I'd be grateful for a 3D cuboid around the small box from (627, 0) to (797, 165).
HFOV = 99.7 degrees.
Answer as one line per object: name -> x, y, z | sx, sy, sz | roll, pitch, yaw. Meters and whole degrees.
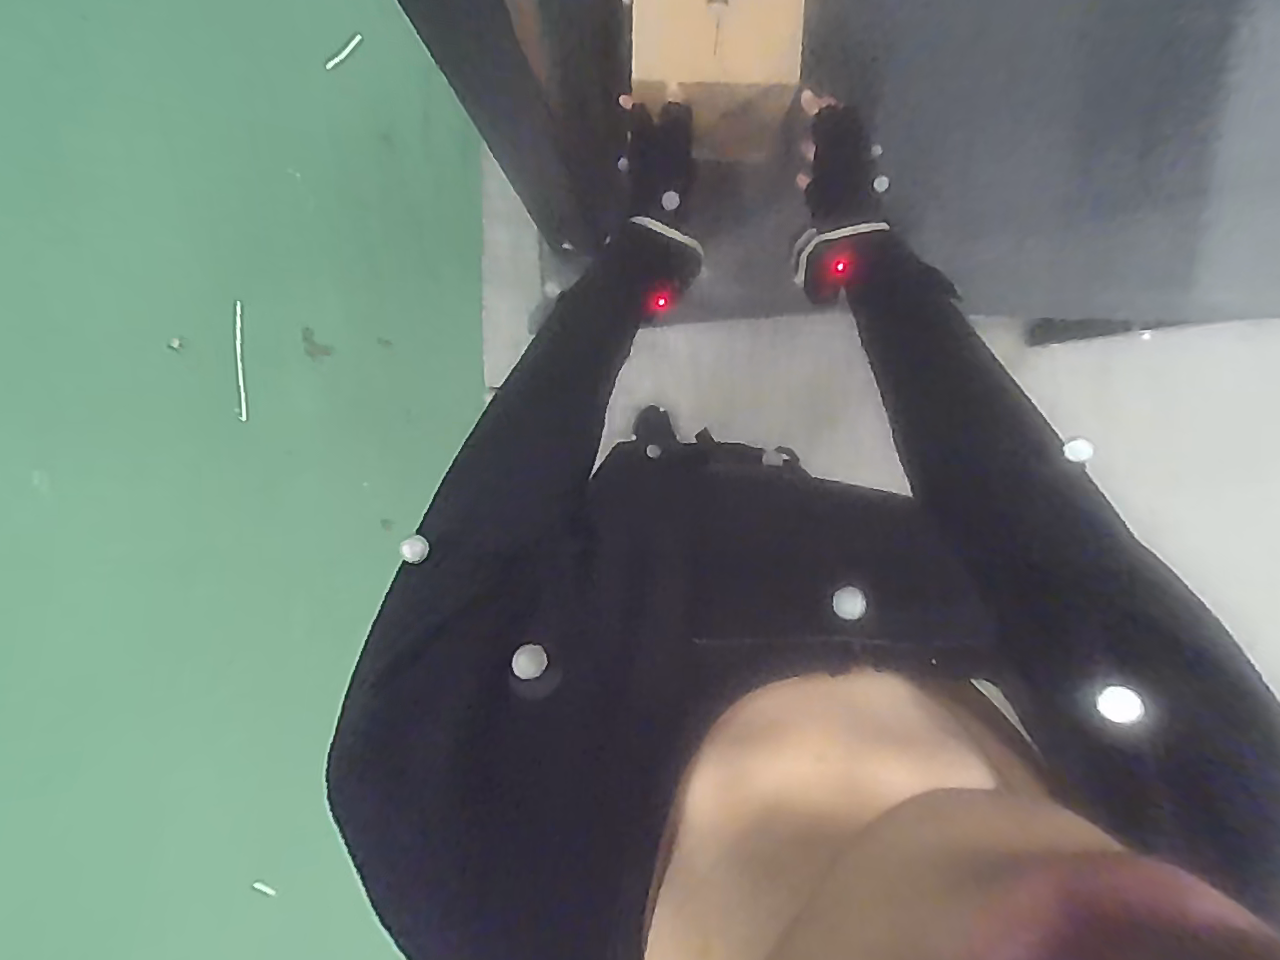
small box -> 0.070, -0.483, 0.602 | 0.168, 0.176, 0.179 | 1, 98, 0
